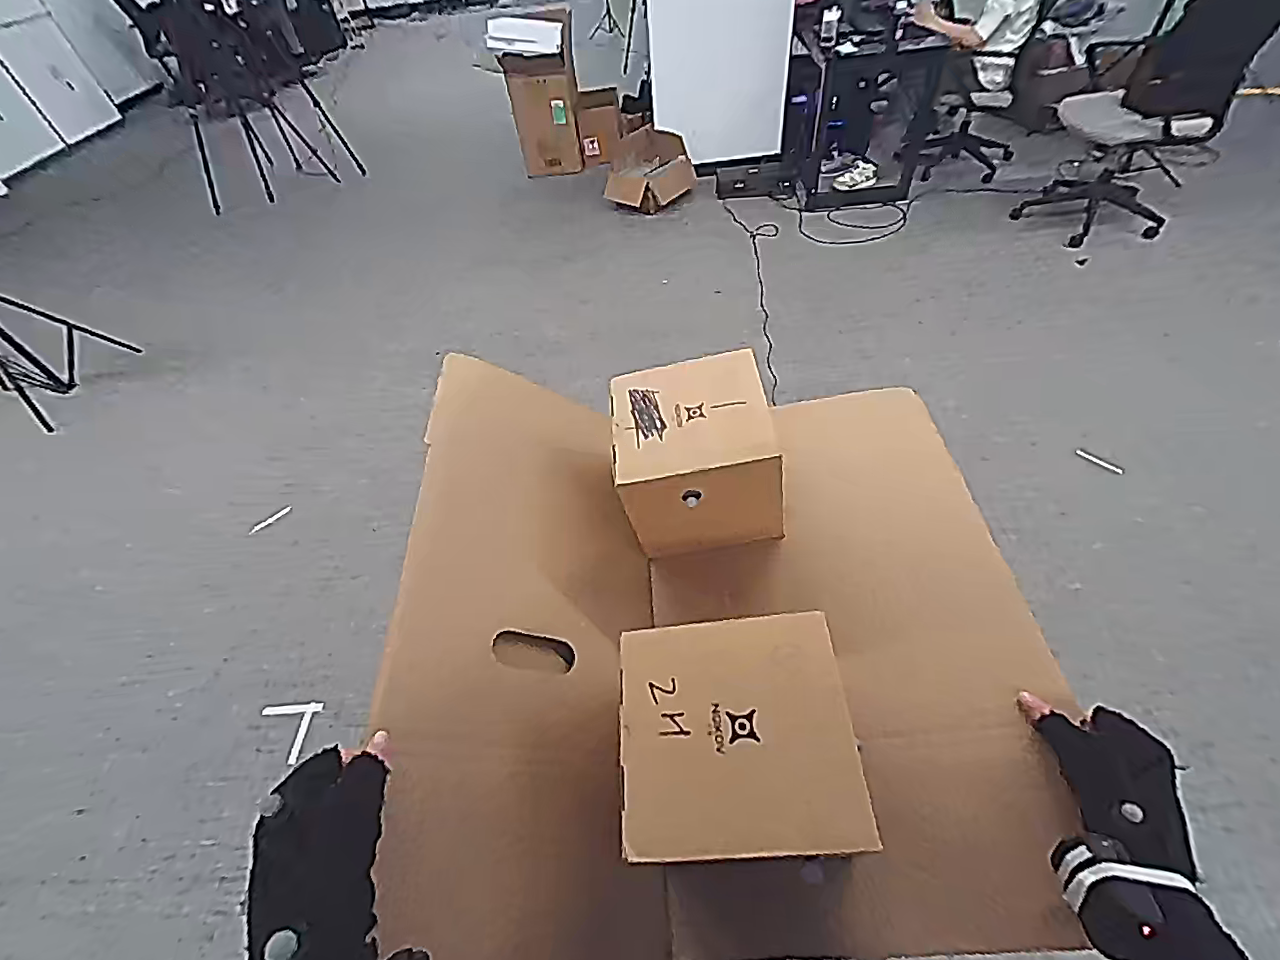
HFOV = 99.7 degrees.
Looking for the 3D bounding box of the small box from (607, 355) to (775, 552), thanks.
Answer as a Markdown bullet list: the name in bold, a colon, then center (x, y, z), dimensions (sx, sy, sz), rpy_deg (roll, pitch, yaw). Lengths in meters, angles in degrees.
- **small box**: center (0.066, -0.025, 0.680), dimensions (0.179, 0.176, 0.168), rpy_deg (-11, 53, 8)
